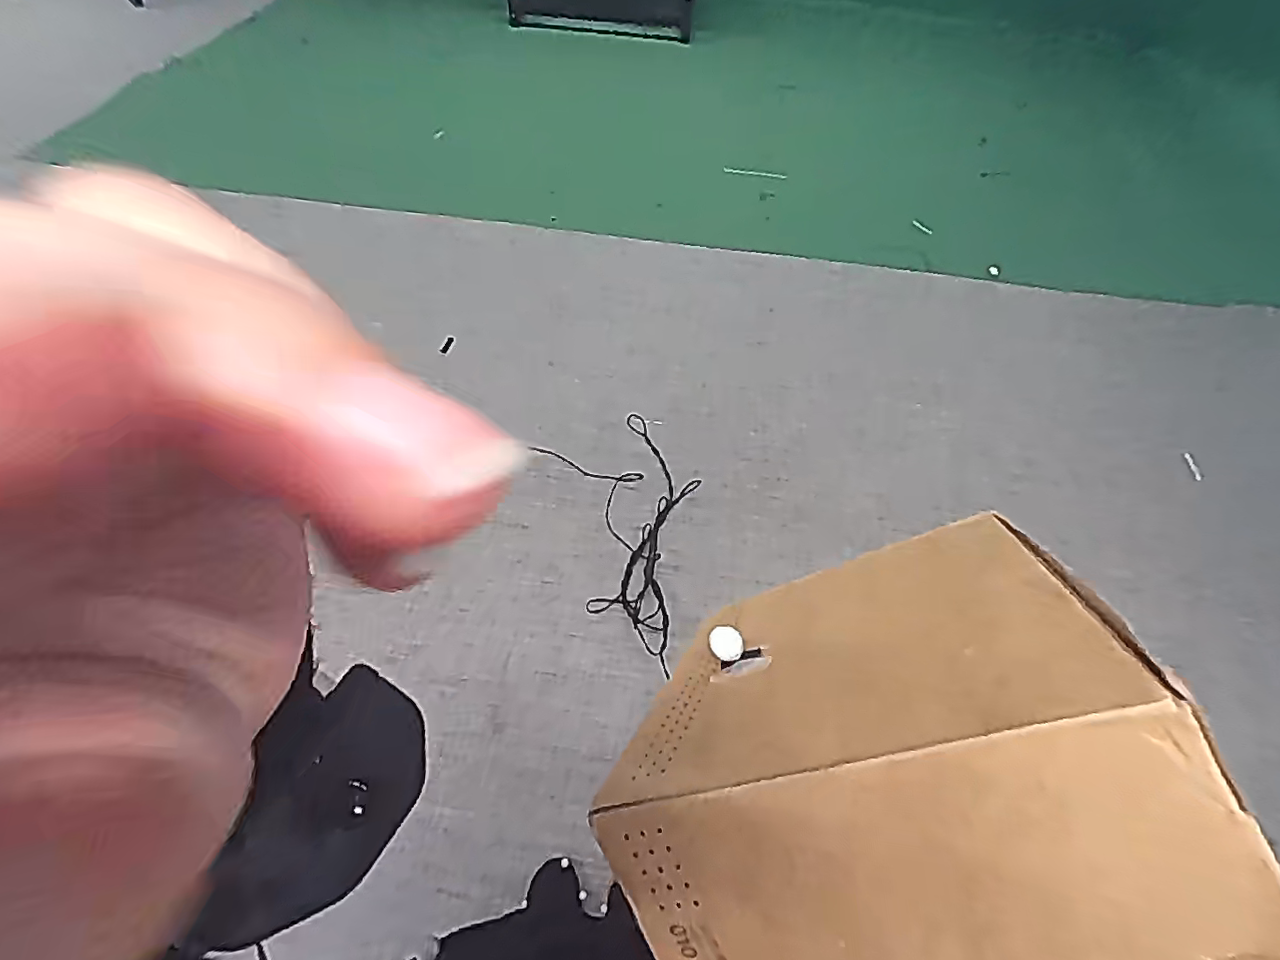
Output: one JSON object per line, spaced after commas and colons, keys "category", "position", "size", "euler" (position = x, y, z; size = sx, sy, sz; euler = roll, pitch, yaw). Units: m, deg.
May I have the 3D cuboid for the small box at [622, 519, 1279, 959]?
{"category": "small box", "position": [0.114, 0.139, 0.224], "size": [0.176, 0.179, 0.168], "euler": [-27, 89, 24]}
